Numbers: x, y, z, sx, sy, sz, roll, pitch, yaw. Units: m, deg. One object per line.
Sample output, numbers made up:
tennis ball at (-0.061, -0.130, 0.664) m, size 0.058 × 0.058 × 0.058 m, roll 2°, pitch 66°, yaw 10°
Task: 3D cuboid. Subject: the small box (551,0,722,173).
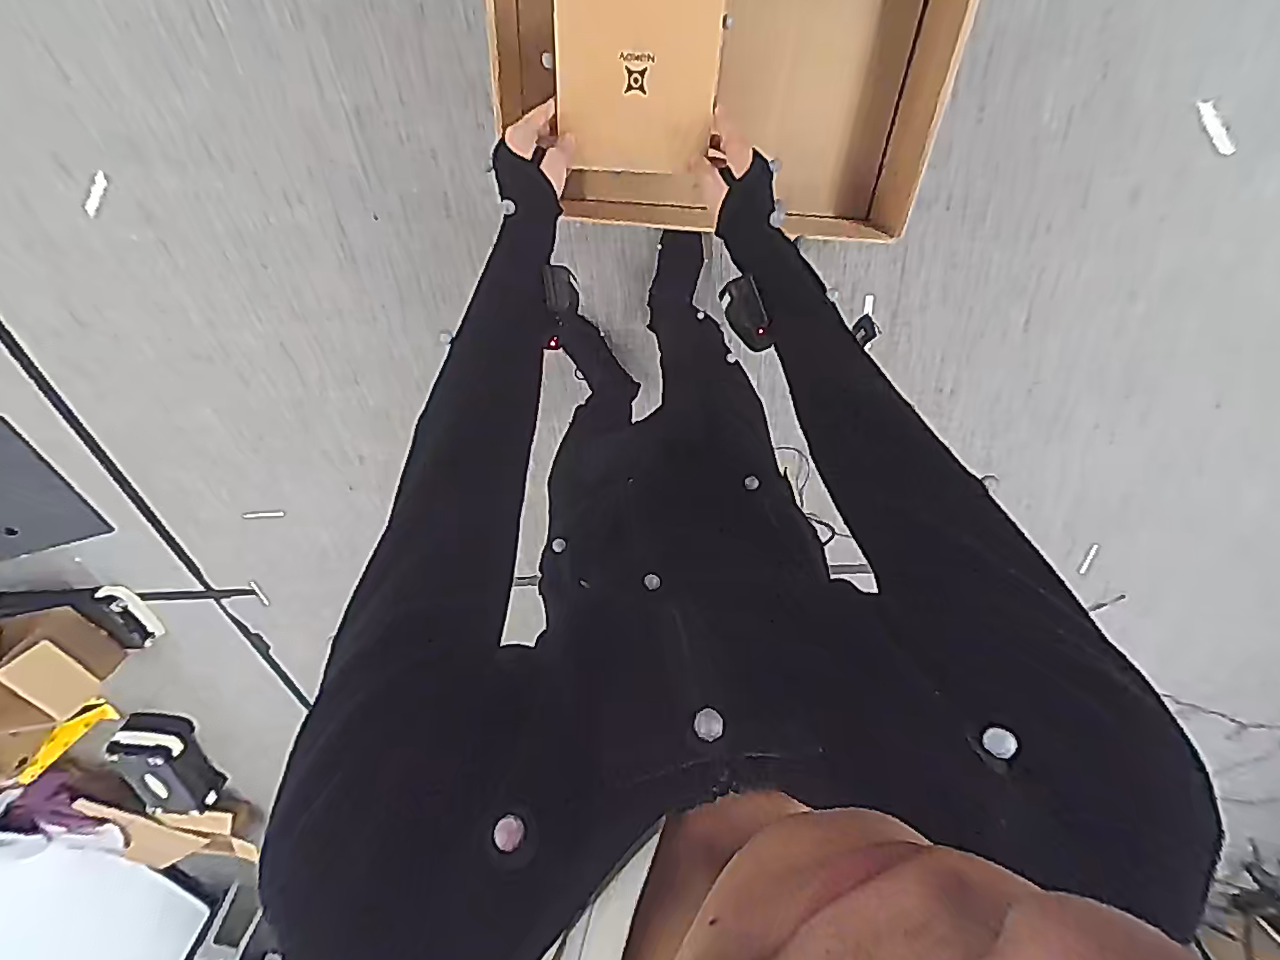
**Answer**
small box at (-0.005, -0.461, 0.611) m, size 0.168 × 0.176 × 0.179 m, roll 2°, pitch 125°, yaw -2°
